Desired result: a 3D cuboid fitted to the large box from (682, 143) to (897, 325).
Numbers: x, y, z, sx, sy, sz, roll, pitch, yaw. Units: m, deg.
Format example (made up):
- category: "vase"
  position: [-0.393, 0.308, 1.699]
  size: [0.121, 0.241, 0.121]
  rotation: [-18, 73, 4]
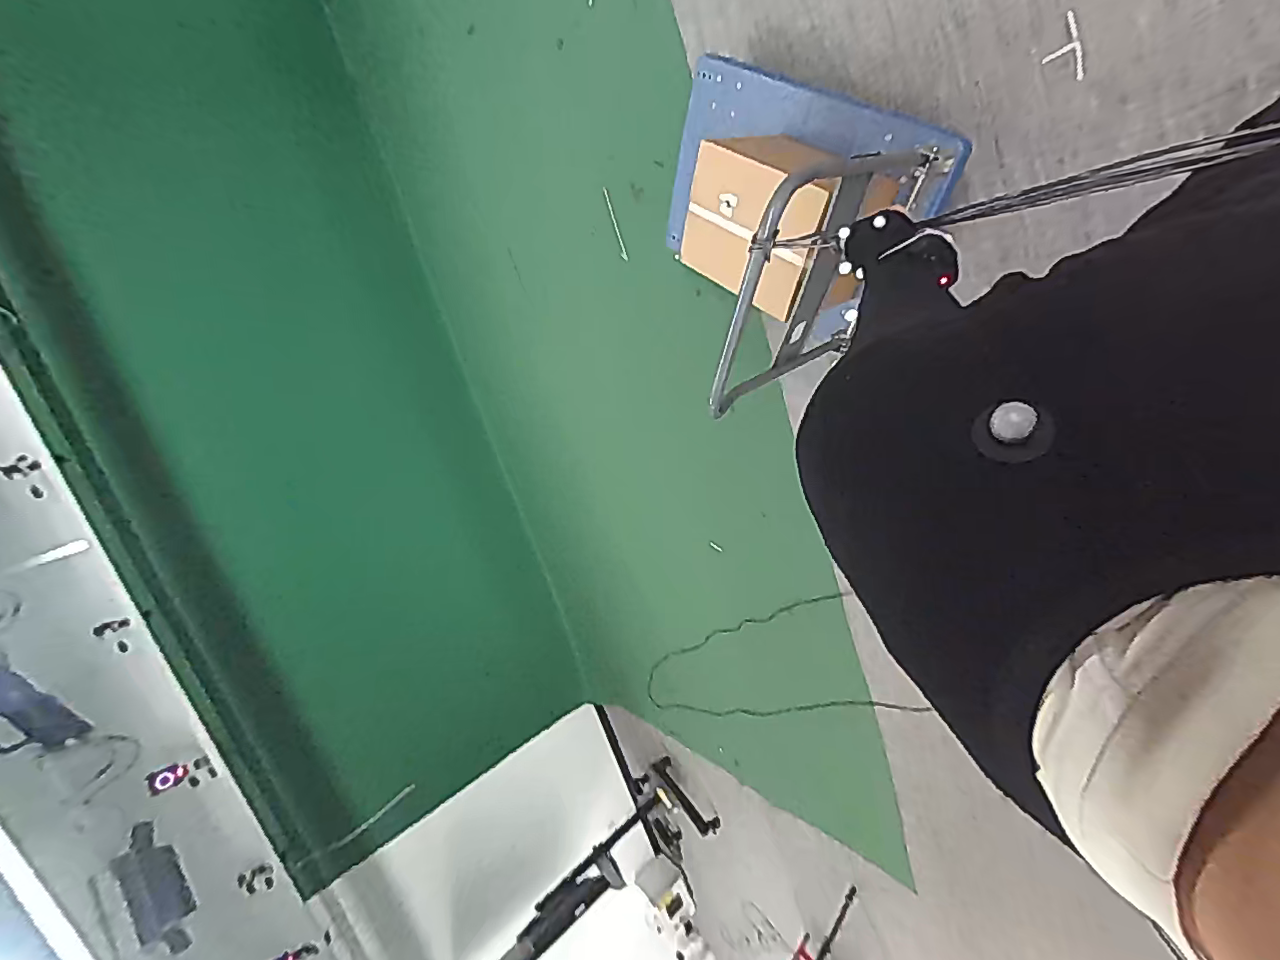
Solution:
- category: "large box"
  position: [0.379, -0.668, 1.441]
  size: [0.408, 0.320, 0.320]
  rotation: [44, 142, 30]
